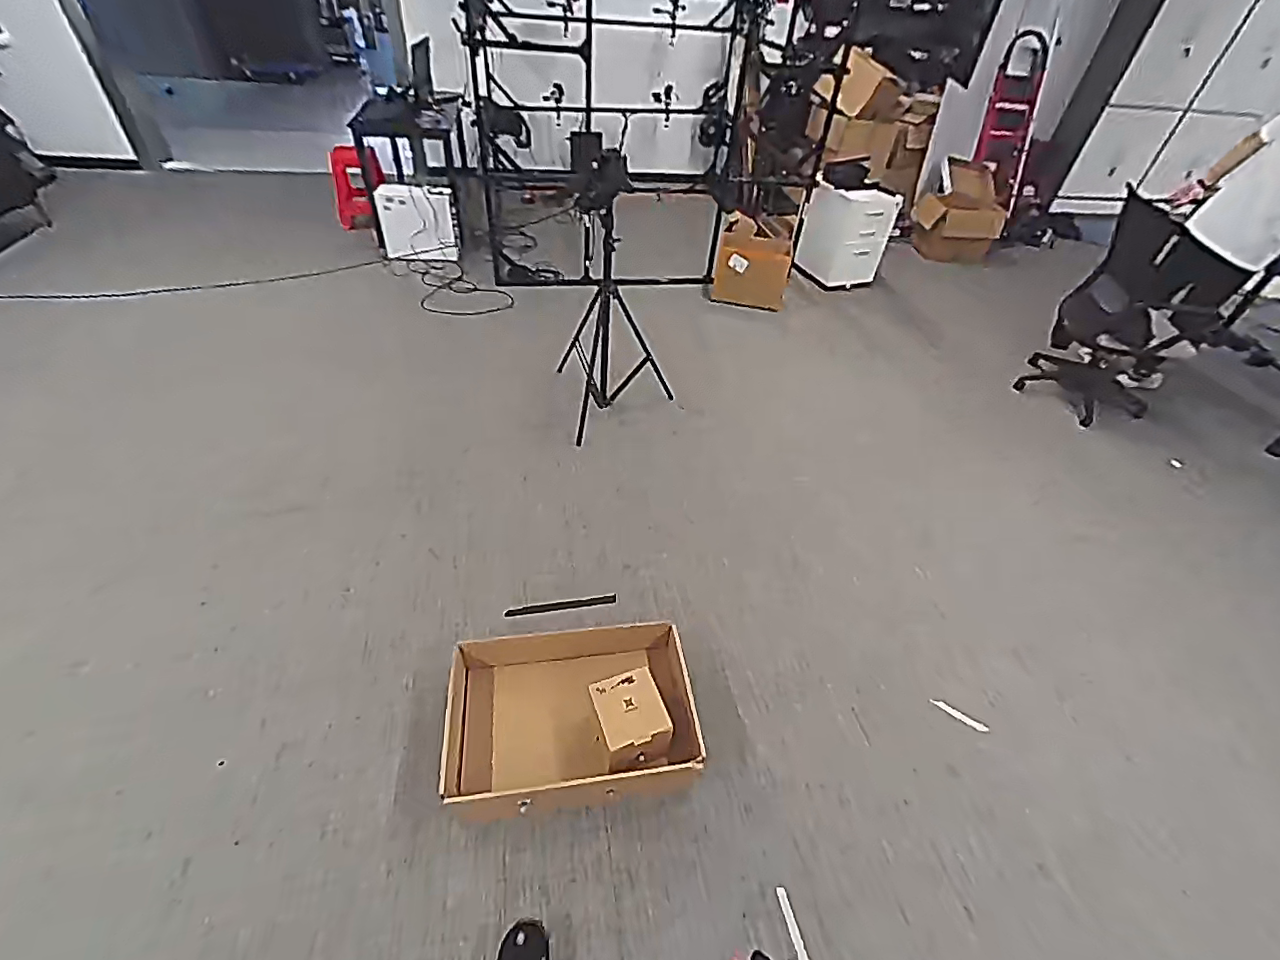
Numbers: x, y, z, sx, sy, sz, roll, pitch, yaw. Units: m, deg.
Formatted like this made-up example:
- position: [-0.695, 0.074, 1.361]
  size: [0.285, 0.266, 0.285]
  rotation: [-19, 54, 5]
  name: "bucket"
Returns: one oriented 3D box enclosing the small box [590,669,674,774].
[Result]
- position: [-0.025, 0.624, 1.383]
  size: [0.168, 0.176, 0.179]
  rotation: [-13, 46, -18]
  name: "small box"
